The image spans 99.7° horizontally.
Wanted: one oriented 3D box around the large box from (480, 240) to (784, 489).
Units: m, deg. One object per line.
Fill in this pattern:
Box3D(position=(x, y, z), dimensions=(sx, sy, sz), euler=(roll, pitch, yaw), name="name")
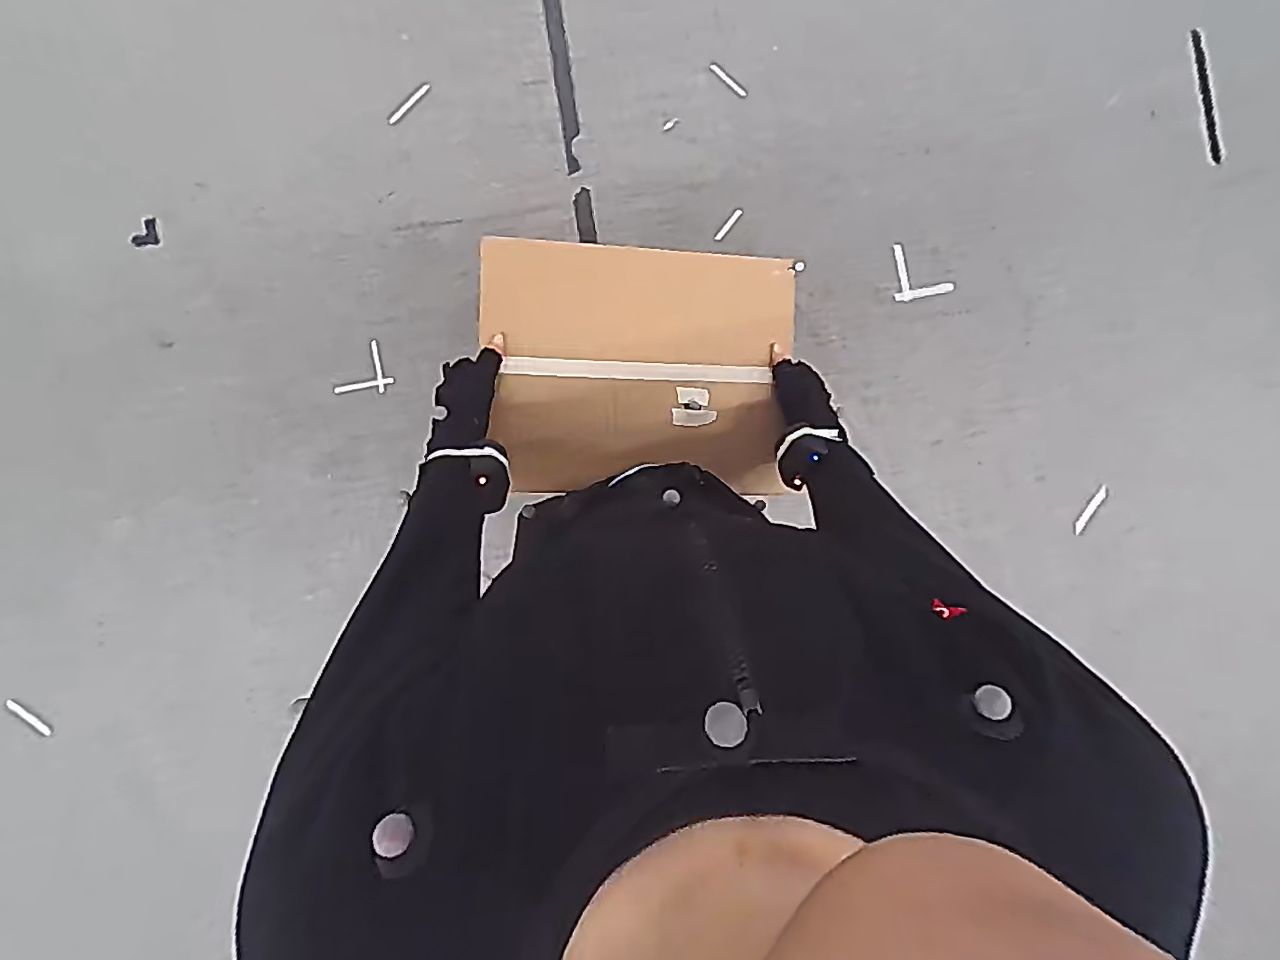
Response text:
Box3D(position=(-0.027, -0.147, 0.847), dimensions=(0.408, 0.320, 0.320), euler=(0, 91, -10), name="large box")
